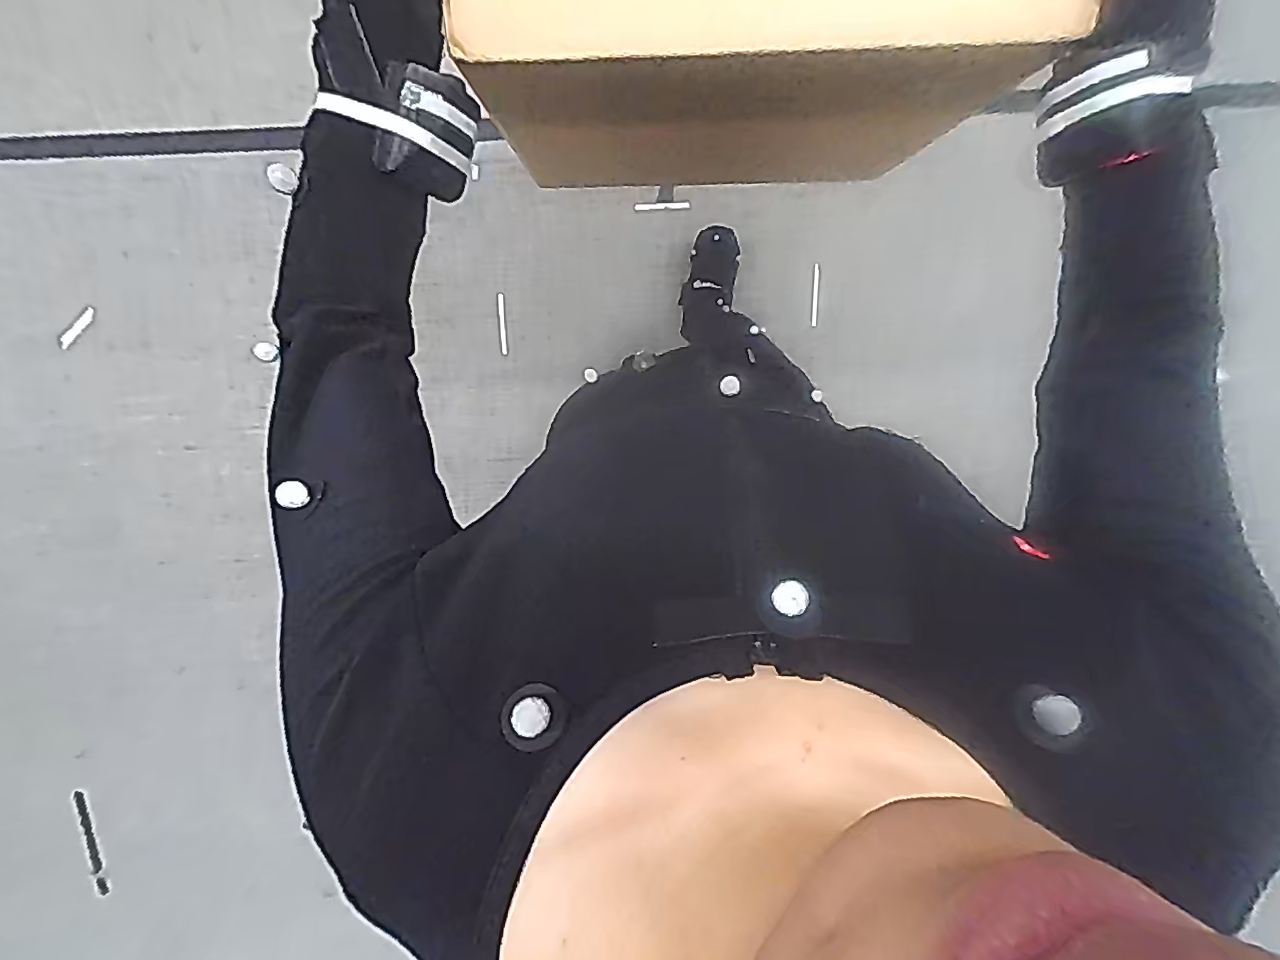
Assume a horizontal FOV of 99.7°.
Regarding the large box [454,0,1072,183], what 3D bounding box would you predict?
[{"bbox_3d":[0.070,-0.469,0.456,0.408,0.320,0.320,-2,105,0],"label":"large box"}]
